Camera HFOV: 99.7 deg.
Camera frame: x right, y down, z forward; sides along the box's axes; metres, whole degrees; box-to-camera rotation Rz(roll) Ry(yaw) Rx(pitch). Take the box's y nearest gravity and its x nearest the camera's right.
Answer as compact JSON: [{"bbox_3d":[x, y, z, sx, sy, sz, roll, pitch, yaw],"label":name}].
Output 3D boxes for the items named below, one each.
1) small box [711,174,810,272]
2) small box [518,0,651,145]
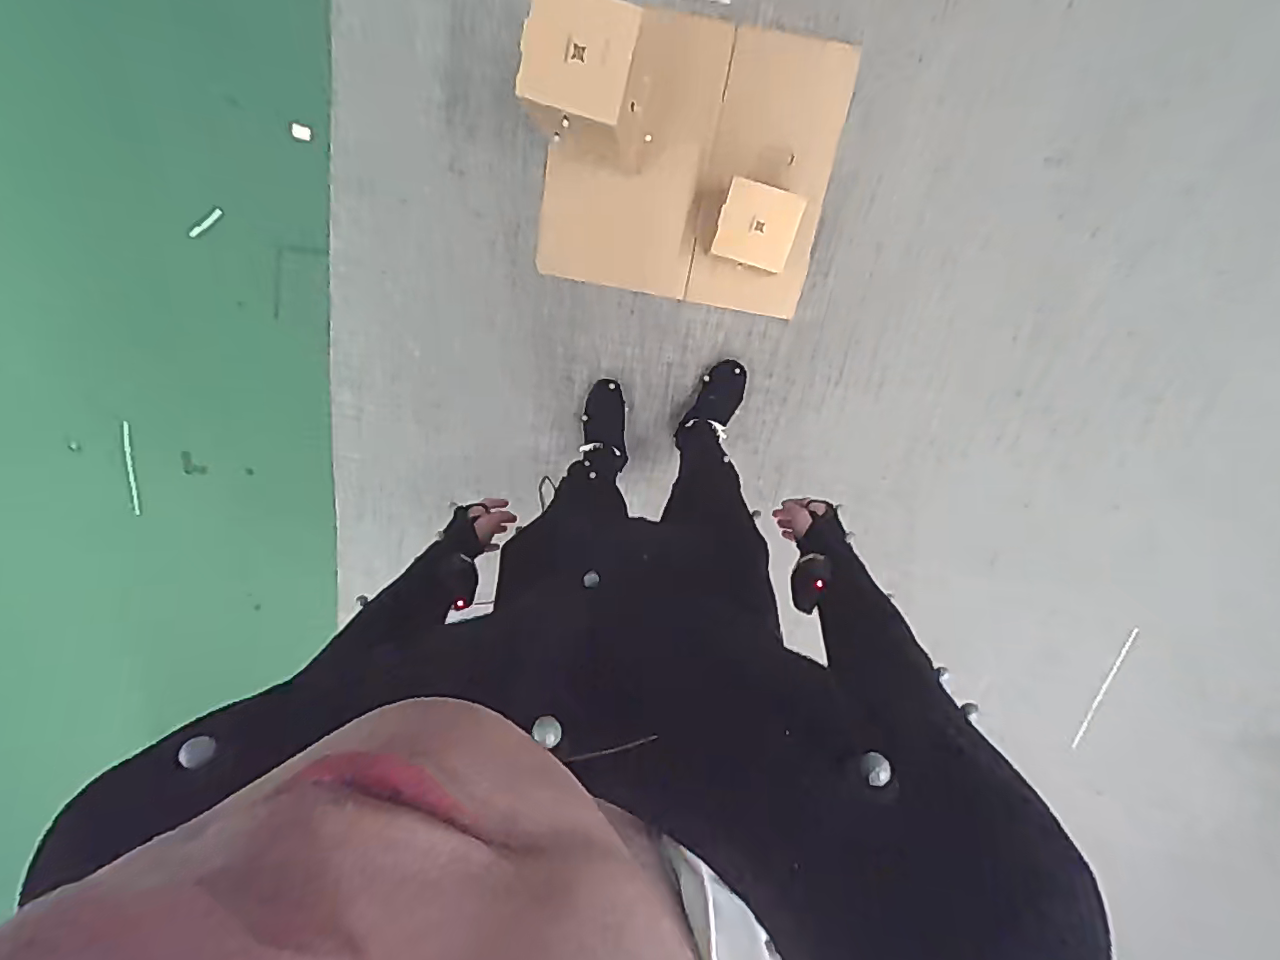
[{"bbox_3d":[0.278,-0.602,1.287,0.179,0.176,0.168,16,109,0],"label":"small box"},{"bbox_3d":[-0.089,-0.706,0.931,0.179,0.176,0.168,17,110,-2],"label":"small box"}]
